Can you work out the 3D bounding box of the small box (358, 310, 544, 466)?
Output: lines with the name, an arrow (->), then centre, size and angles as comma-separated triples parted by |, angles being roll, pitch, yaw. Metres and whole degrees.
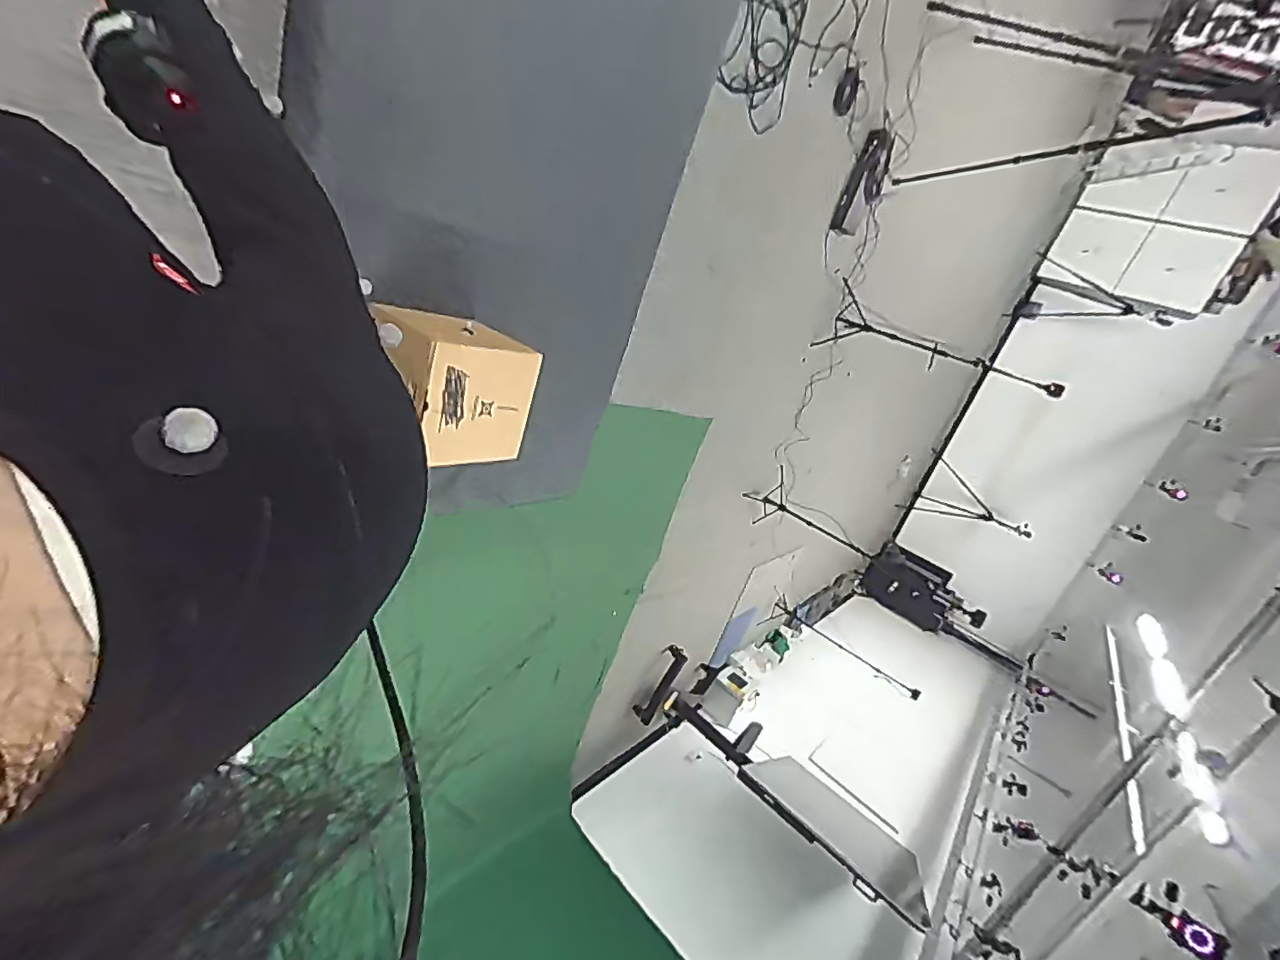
small box -> -0.270, -0.131, 0.764 | 0.179, 0.176, 0.168 | -9, 123, -53
